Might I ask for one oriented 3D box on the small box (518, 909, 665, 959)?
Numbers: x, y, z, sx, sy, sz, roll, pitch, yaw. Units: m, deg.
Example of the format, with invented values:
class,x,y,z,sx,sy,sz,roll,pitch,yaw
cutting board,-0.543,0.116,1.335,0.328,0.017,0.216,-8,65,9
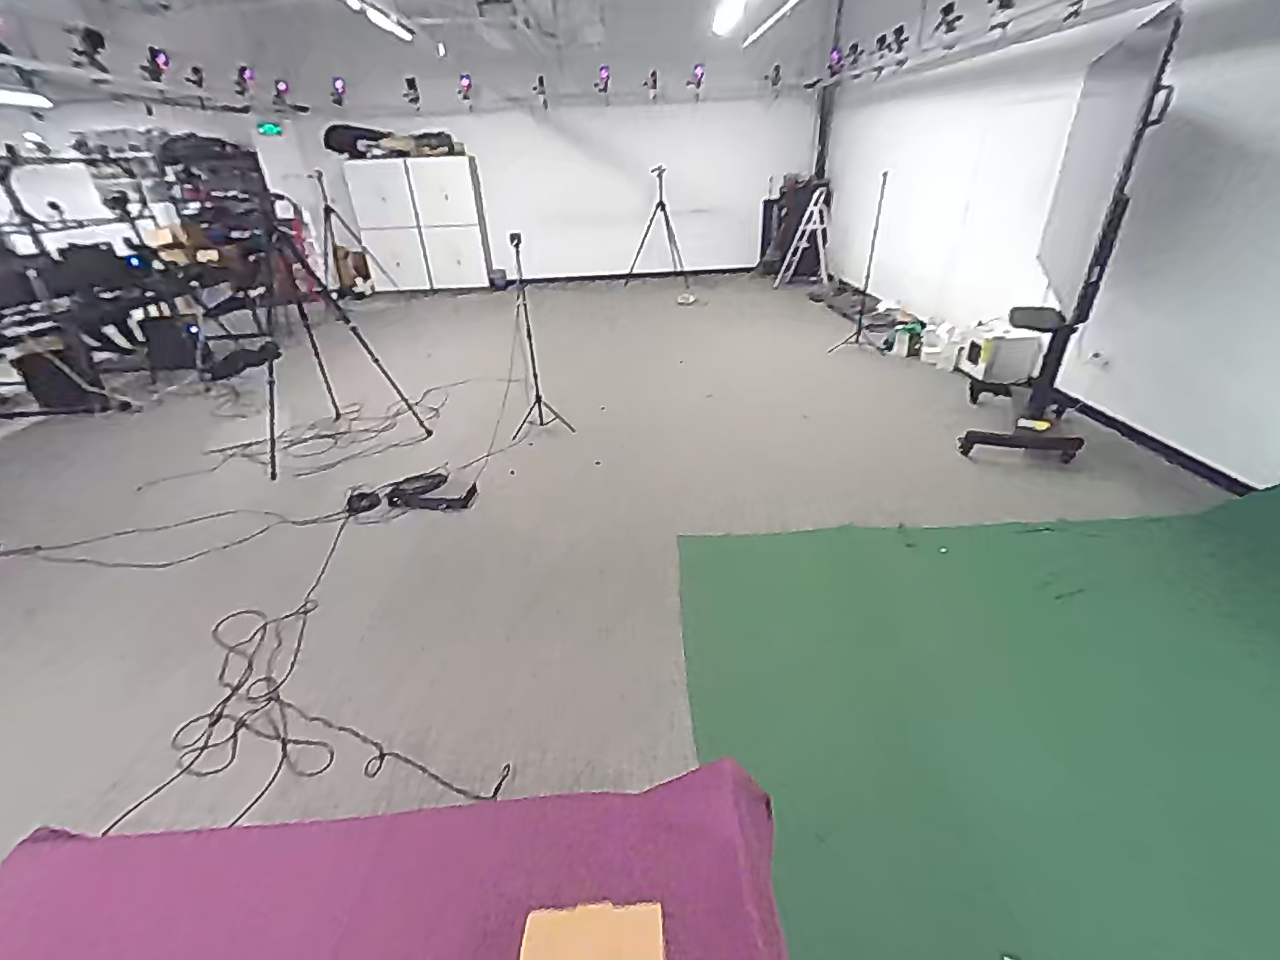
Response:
class,x,y,z,sx,sy,sz,roll,pitch,yaw
small box,-0.051,0.621,0.591,0.168,0.176,0.179,-5,19,1
